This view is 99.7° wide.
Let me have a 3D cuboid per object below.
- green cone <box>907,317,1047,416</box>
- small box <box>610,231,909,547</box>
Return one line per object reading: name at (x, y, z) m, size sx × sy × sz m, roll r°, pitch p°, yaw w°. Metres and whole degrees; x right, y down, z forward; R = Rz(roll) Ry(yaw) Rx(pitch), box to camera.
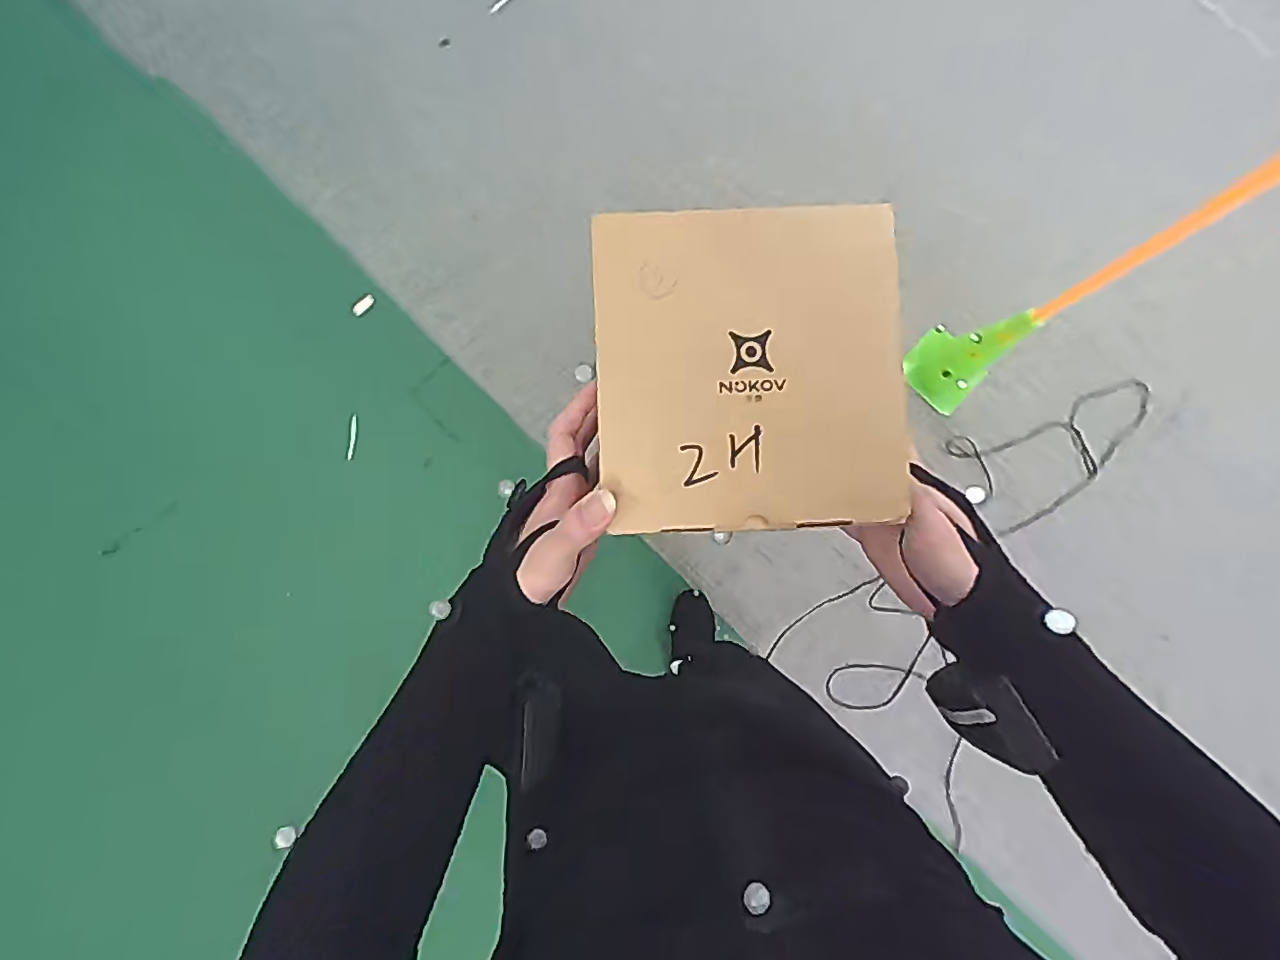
green cone at (0.870, -0.326, 1.373) m, size 0.202 × 0.368 × 0.200 m, roll 44°, pitch 84°, yaw 2°
small box at (0.064, -0.048, 0.376) m, size 0.168 × 0.176 × 0.179 m, roll 0°, pitch 89°, yaw 0°
